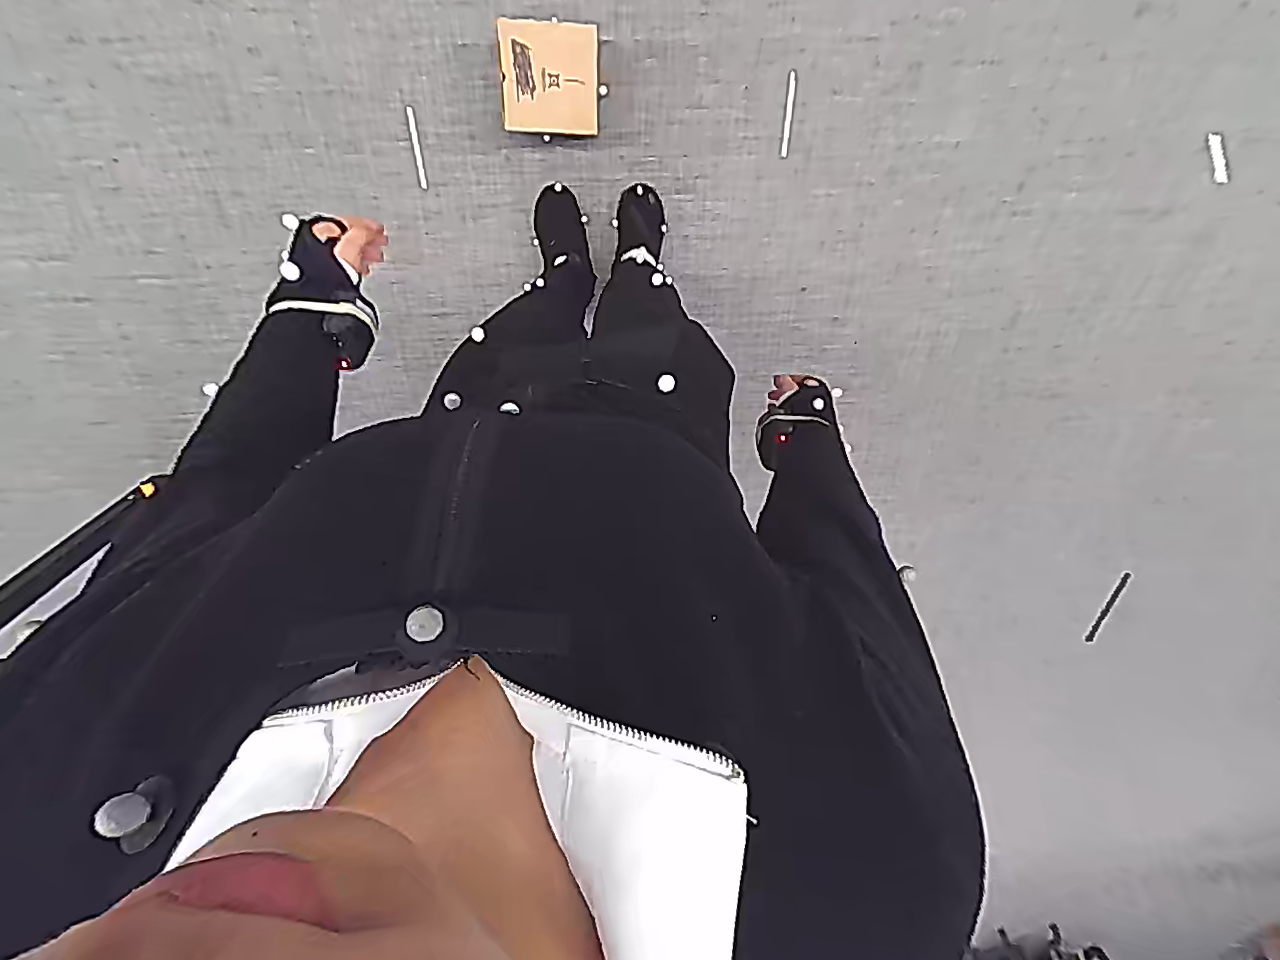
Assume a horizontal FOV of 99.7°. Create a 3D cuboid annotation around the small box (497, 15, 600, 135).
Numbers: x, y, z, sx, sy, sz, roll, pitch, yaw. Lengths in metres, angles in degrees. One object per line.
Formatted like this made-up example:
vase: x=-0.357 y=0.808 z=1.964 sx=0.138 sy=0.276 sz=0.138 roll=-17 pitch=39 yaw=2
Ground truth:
small box: x=-0.168 y=-0.768 z=1.041 sx=0.179 sy=0.176 sz=0.168 roll=1 pitch=123 yaw=-4
